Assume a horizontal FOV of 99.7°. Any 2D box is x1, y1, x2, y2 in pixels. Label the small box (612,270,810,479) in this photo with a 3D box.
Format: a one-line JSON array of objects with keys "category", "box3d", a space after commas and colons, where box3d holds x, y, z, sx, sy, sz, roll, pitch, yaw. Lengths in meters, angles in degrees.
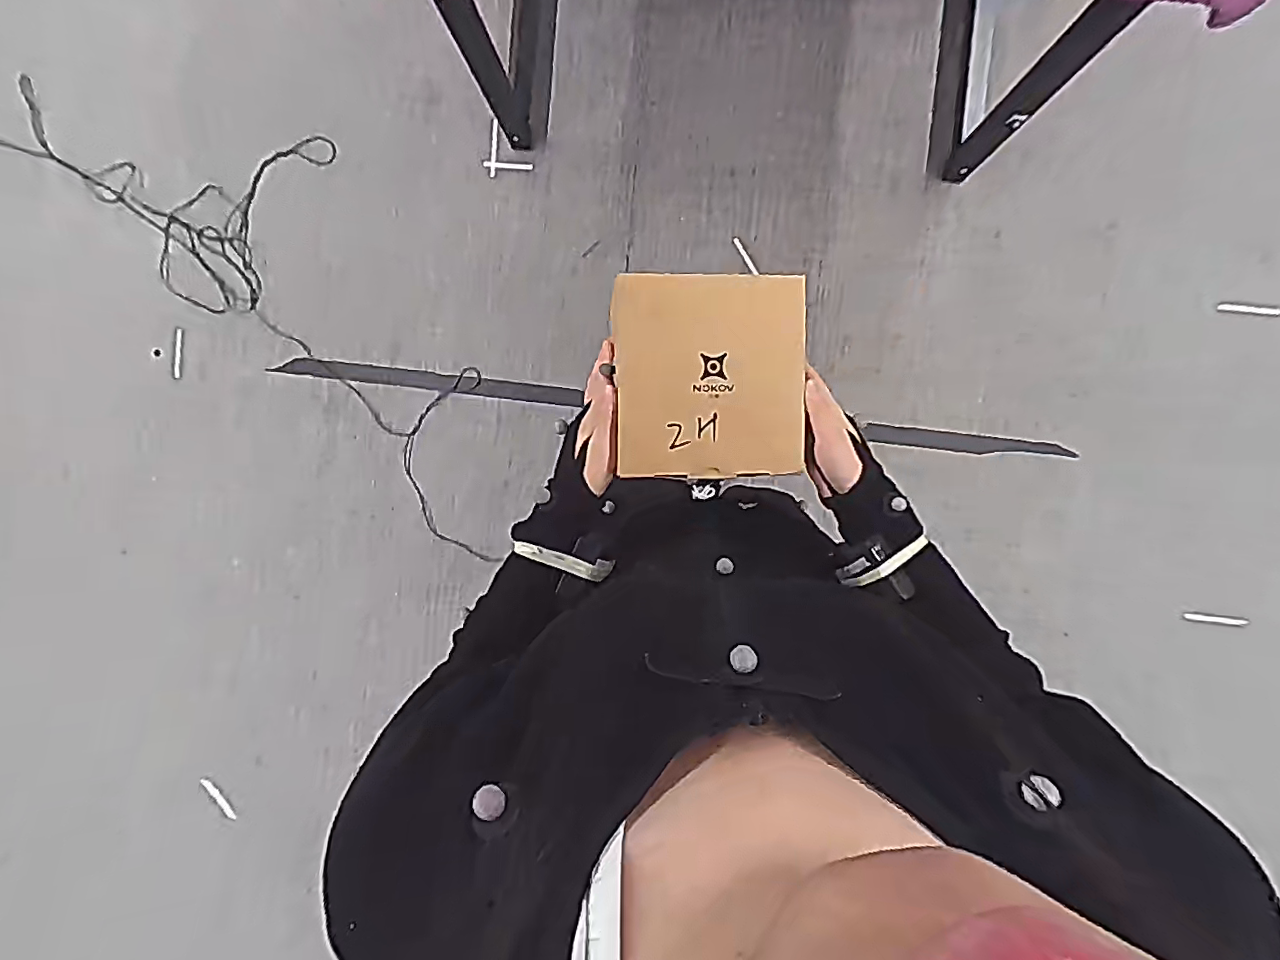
[{"category": "small box", "box3d": [0.058, -0.093, 0.550, 0.168, 0.176, 0.179, 1, 93, -6]}]
